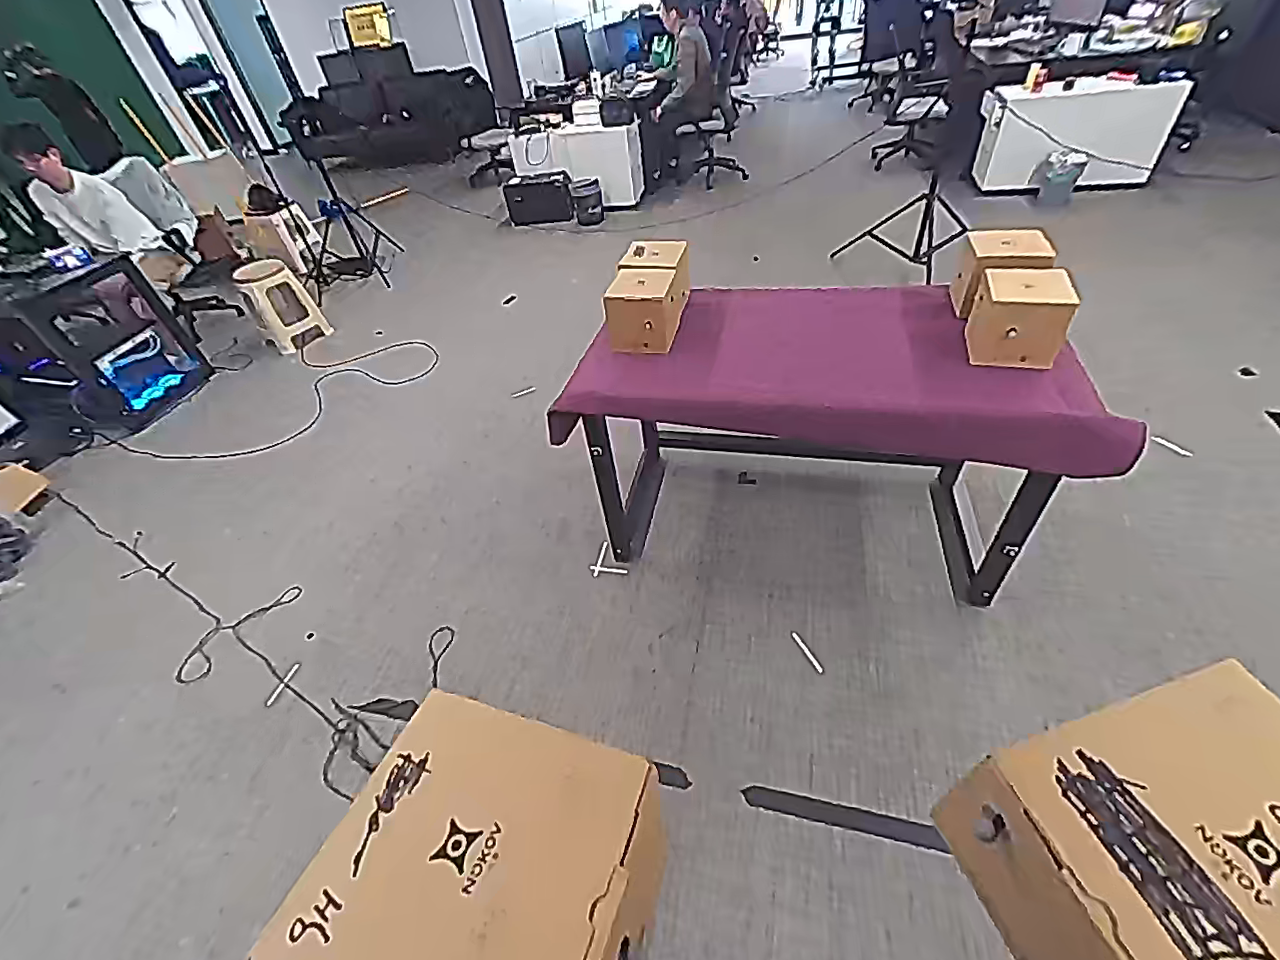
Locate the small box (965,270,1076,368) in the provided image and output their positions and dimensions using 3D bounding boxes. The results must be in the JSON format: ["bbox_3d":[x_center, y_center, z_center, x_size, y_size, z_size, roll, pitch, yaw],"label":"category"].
[{"bbox_3d":[0.887,-0.381,1.280,0.168,0.176,0.179,8,45,18],"label":"small box"}]

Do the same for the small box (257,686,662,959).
[{"bbox_3d":[-0.090,0.277,0.366,0.179,0.176,0.168,10,41,18],"label":"small box"}]

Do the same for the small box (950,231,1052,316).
[{"bbox_3d":[0.939,-0.540,1.428,0.179,0.176,0.168,6,46,15],"label":"small box"}]

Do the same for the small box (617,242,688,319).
[{"bbox_3d":[0.045,-0.605,1.642,0.179,0.176,0.168,8,48,15],"label":"small box"}]
